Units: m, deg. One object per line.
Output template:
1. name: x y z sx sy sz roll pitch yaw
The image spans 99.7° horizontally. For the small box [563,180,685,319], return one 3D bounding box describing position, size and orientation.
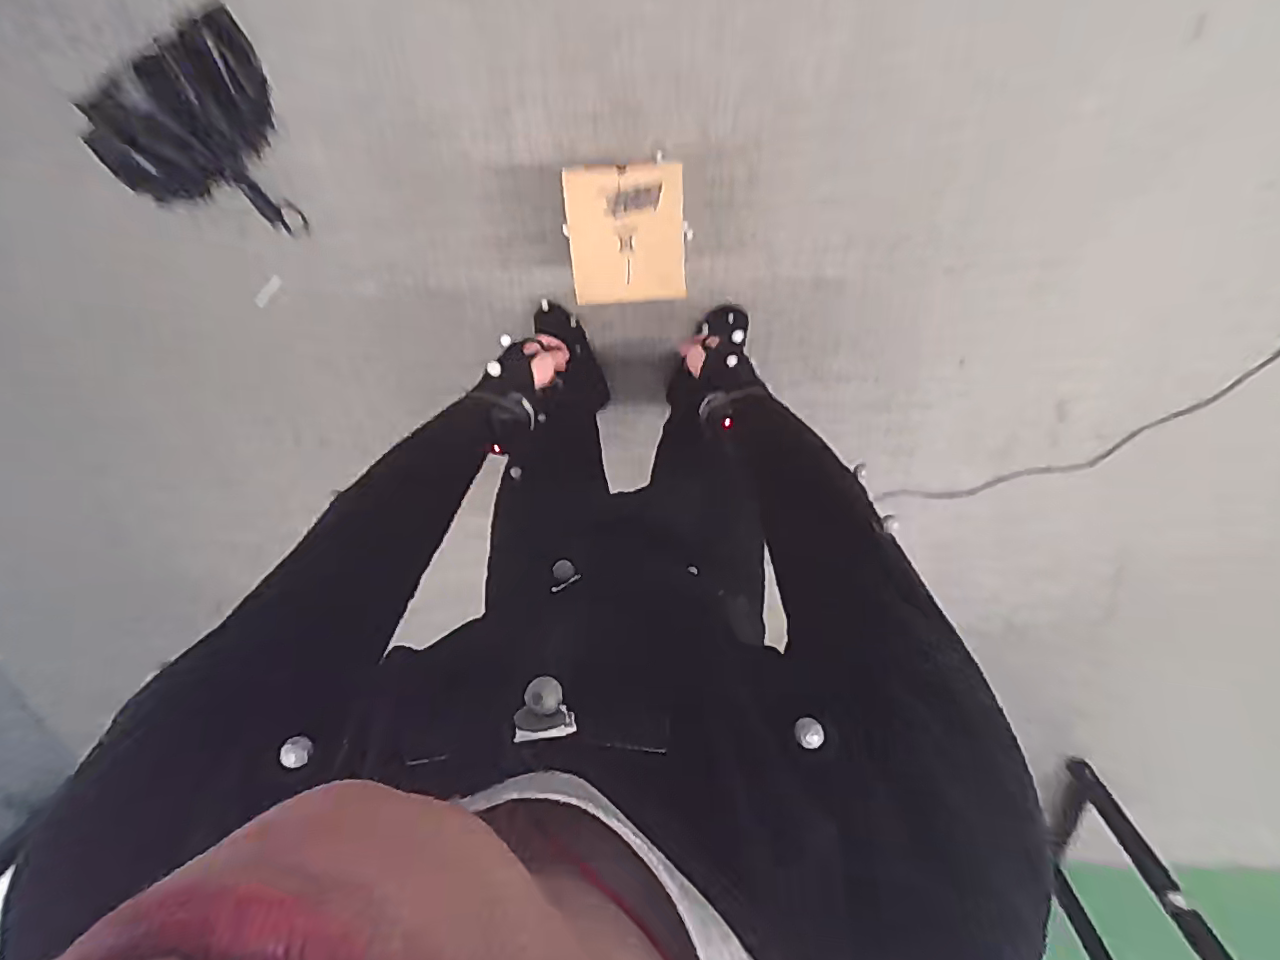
1. small box: -0.017 -0.358 0.834 0.168 0.176 0.179 -2 120 4
